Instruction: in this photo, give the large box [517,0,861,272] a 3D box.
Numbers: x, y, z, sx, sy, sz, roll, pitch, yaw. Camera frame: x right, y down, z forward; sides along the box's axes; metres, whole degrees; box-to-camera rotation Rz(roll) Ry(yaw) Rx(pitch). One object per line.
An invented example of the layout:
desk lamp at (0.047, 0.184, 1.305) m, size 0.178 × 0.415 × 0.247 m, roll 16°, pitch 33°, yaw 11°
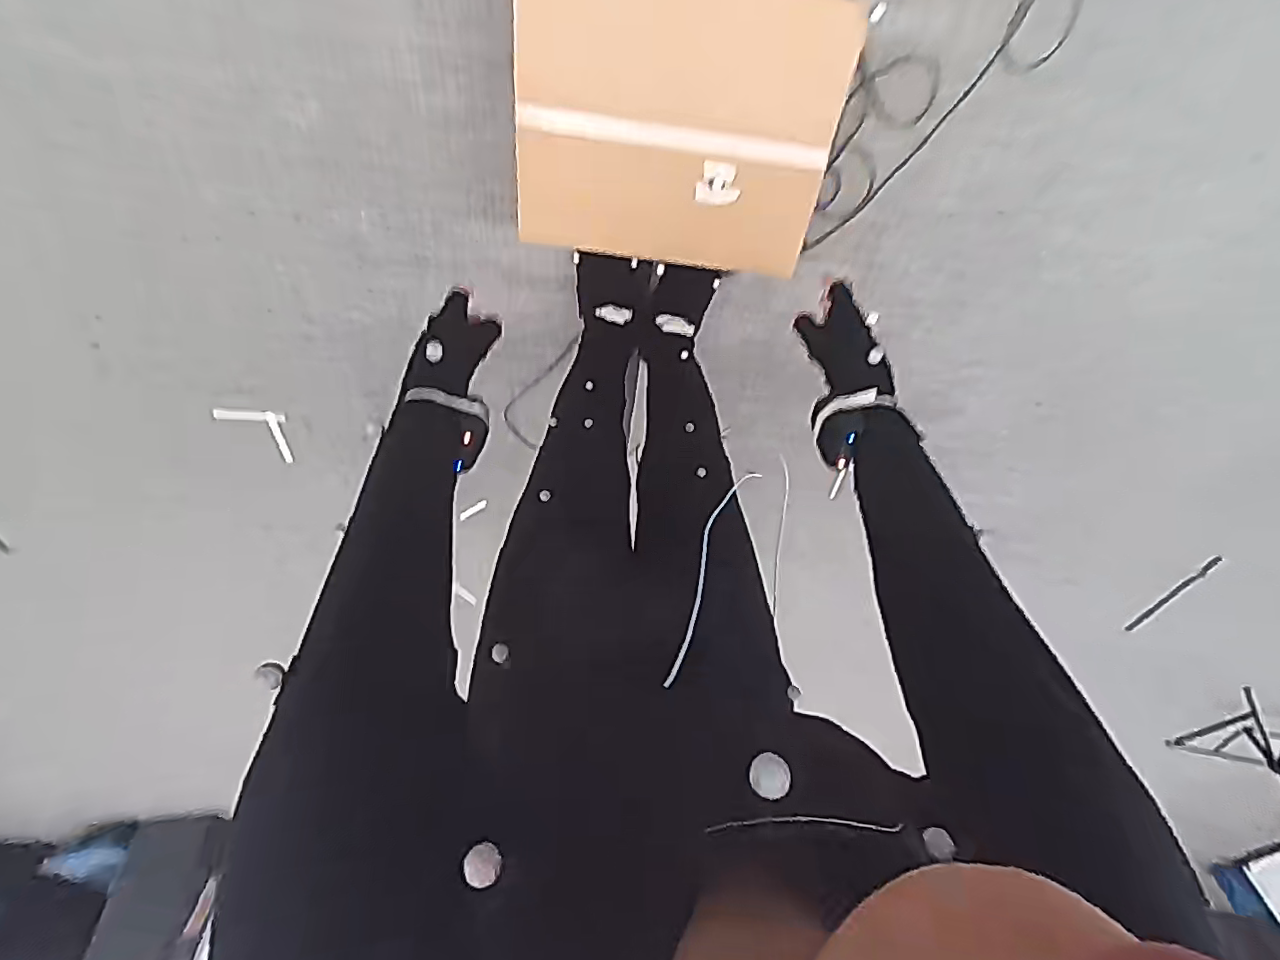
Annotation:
large box at (0.043, -0.542, 0.819) m, size 0.408 × 0.320 × 0.320 m, roll 6°, pitch 130°, yaw -4°
